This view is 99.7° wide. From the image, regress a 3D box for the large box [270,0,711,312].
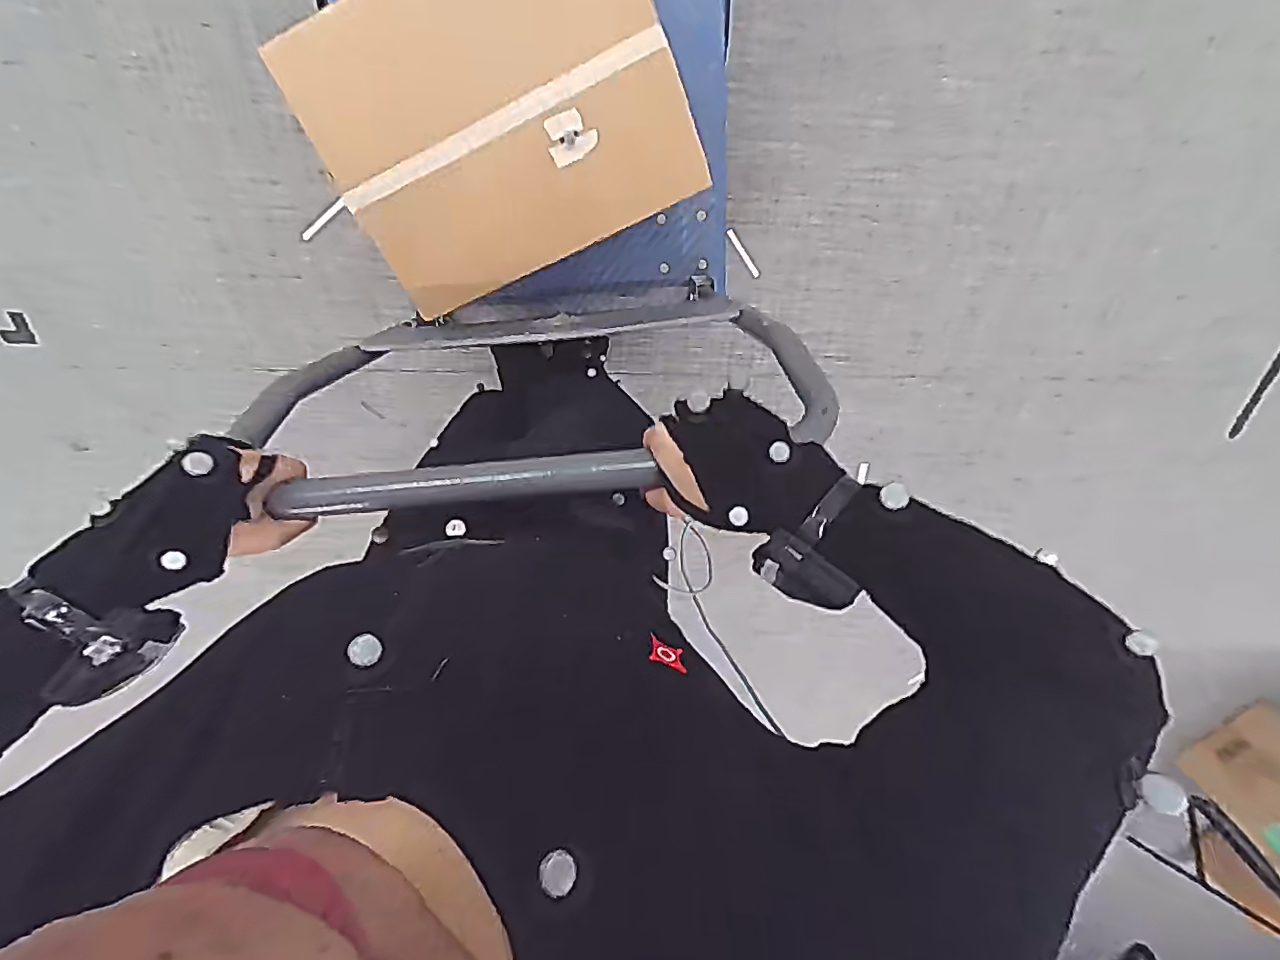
[{"bbox_3d":[-0.165,-0.480,0.740,0.408,0.320,0.320,-23,117,7],"label":"large box"}]
